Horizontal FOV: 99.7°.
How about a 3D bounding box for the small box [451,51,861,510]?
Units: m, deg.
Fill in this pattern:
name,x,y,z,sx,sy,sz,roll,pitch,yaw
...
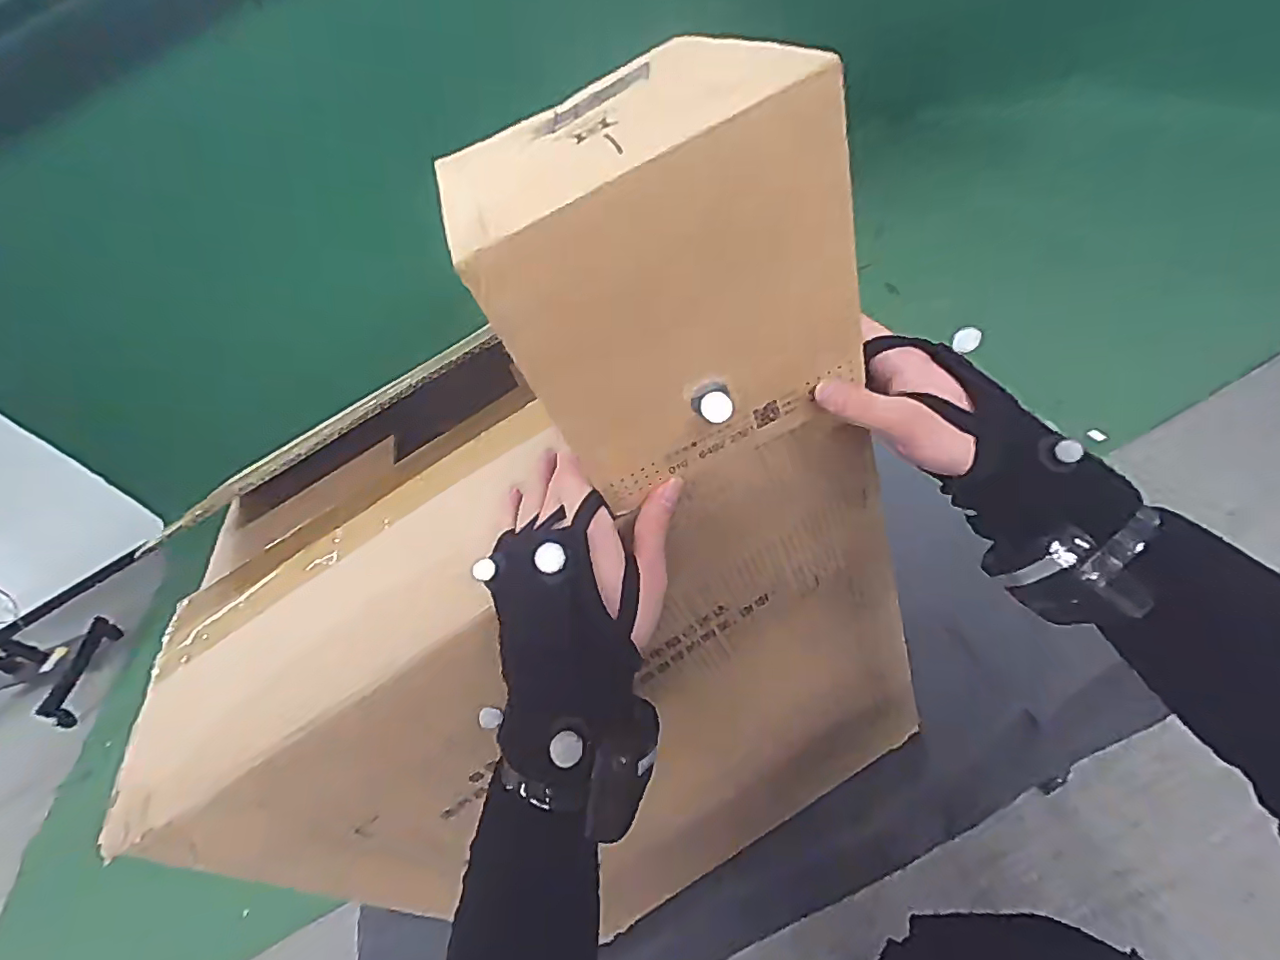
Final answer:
name,x,y,z,sx,sy,sz,roll,pitch,yaw
small box,0.009,-0.115,0.322,0.168,0.176,0.179,-27,45,2
